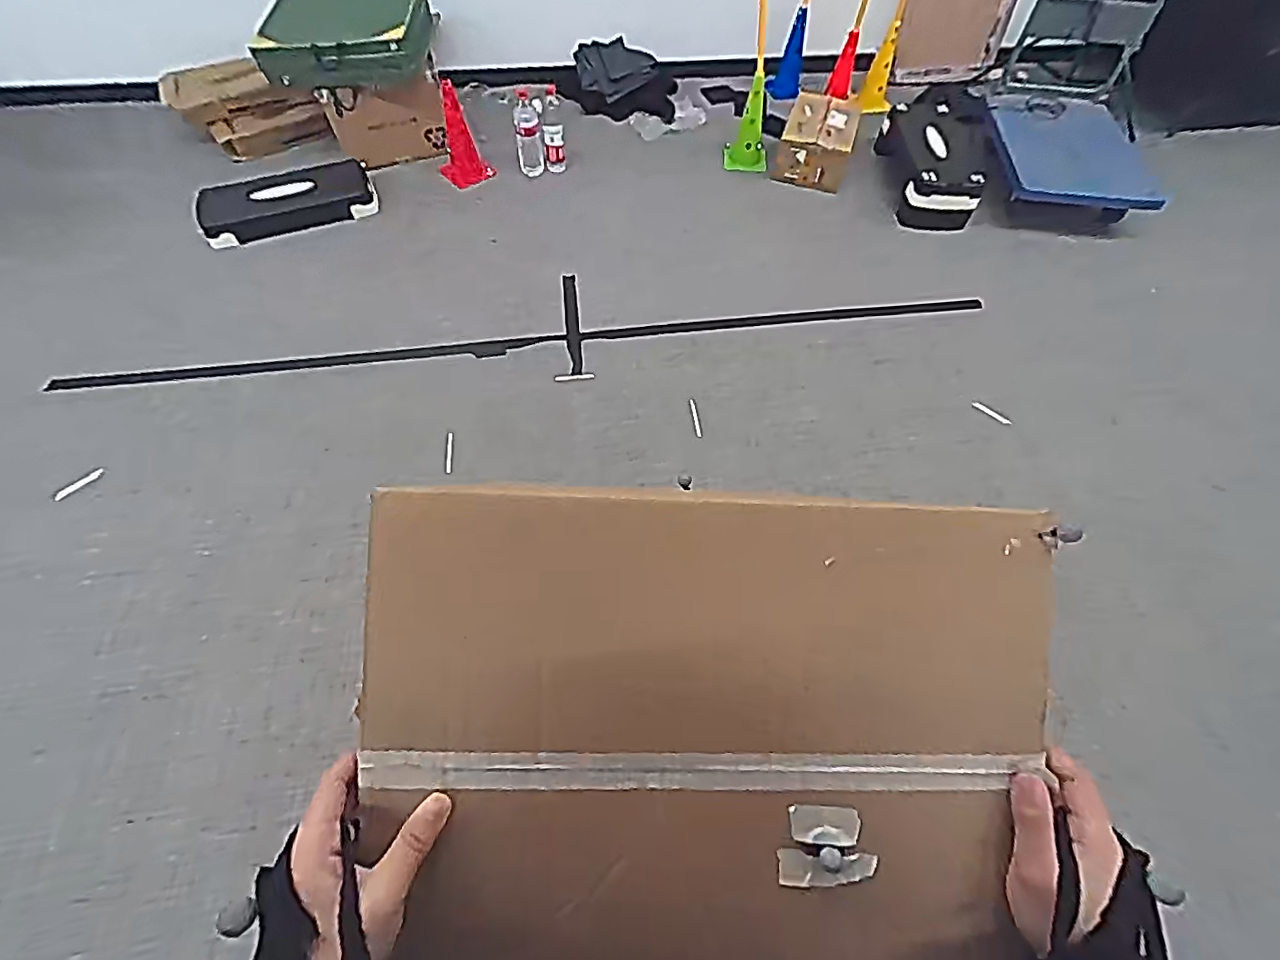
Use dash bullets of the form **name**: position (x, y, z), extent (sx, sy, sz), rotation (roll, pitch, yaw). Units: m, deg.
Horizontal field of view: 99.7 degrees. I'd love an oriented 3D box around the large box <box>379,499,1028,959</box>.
- **large box**: position (0.033, 0.174, 0.479), extent (0.408, 0.320, 0.320), rotation (2, 91, -5)
